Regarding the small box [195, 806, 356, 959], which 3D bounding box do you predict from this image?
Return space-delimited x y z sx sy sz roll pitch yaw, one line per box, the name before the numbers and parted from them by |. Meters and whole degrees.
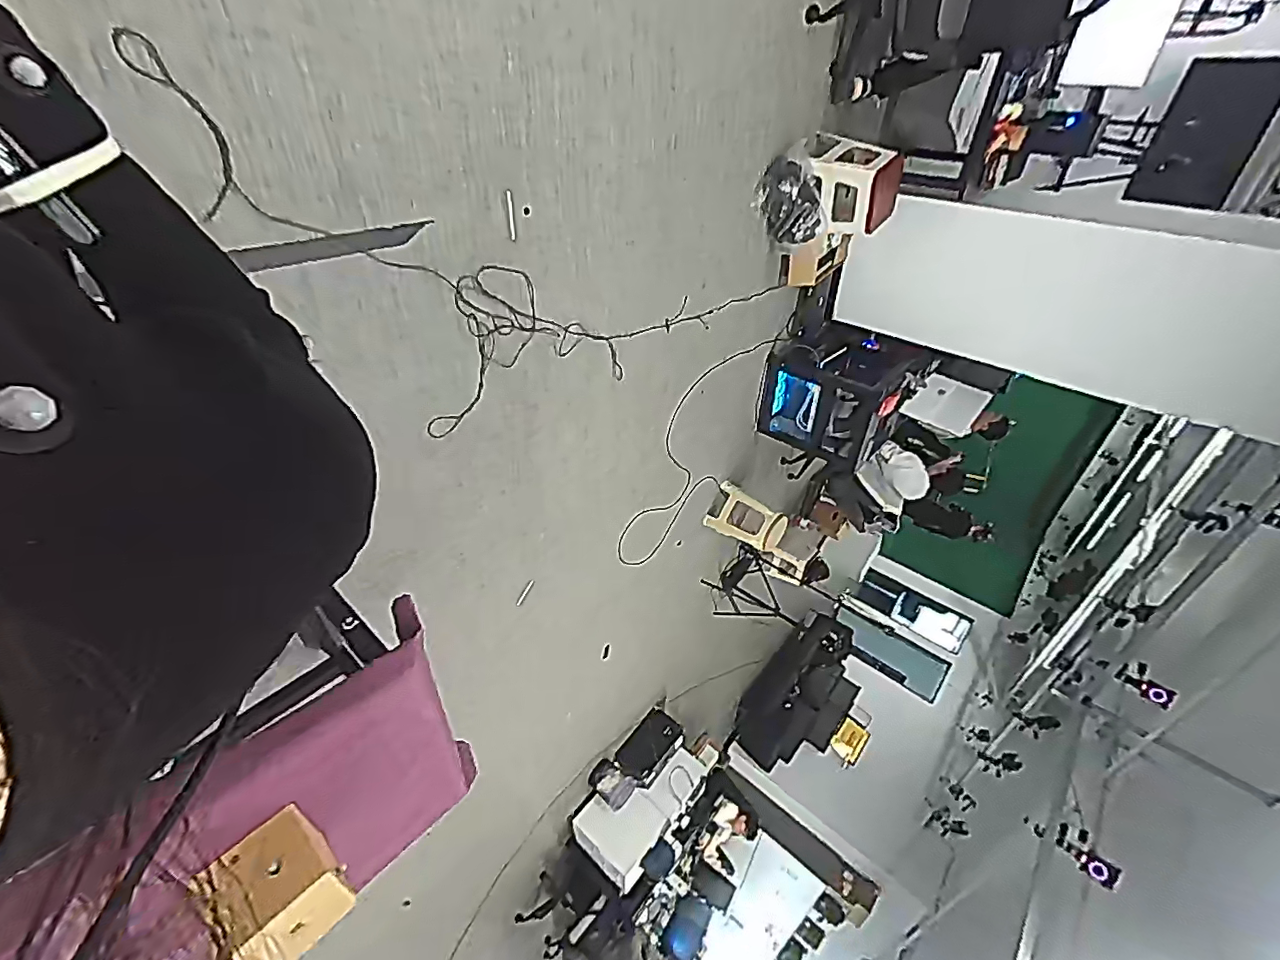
small box | -0.659 0.738 0.984 0.168 0.176 0.179 -35 141 -37
